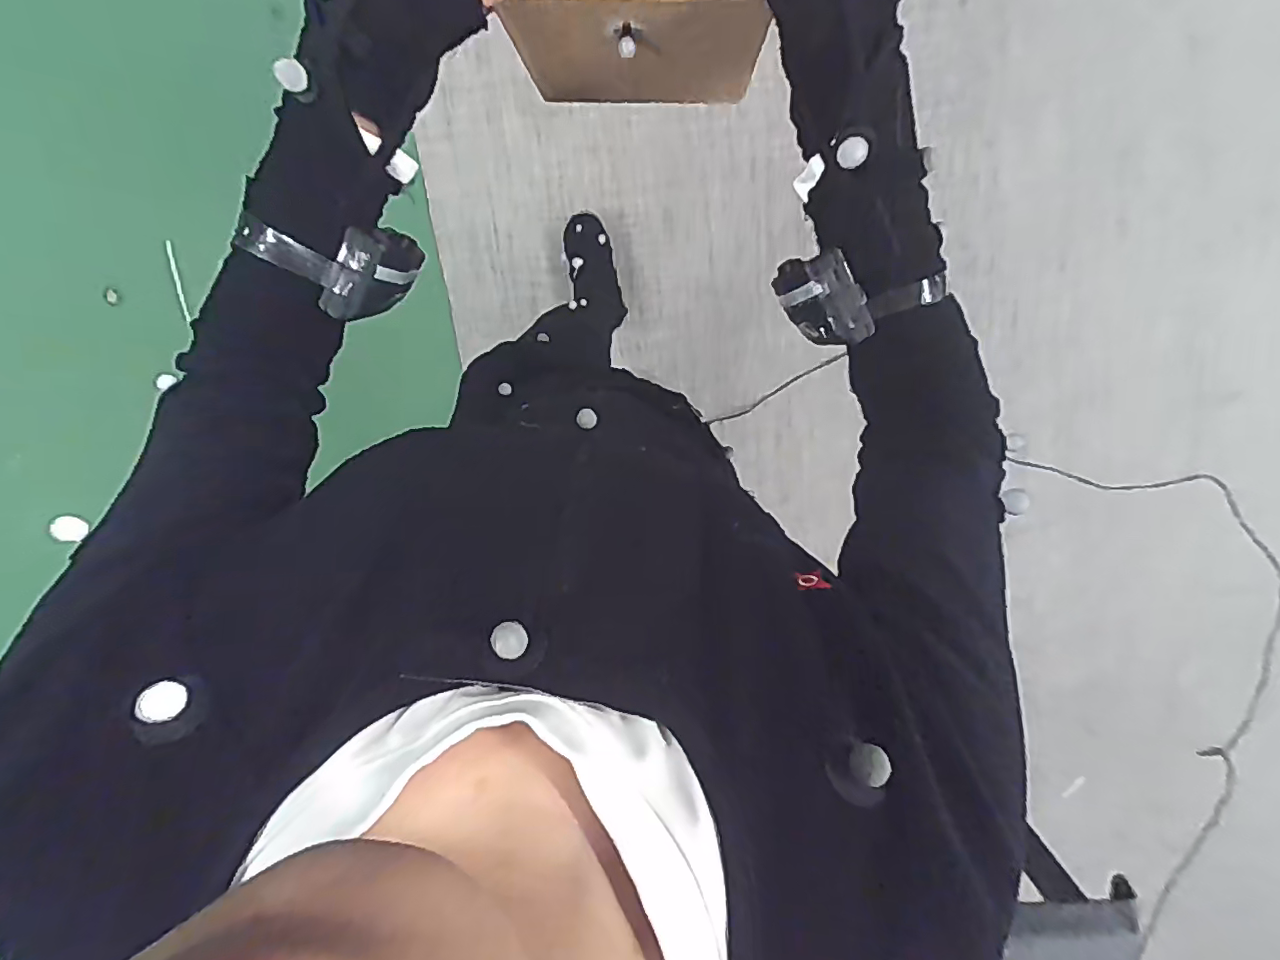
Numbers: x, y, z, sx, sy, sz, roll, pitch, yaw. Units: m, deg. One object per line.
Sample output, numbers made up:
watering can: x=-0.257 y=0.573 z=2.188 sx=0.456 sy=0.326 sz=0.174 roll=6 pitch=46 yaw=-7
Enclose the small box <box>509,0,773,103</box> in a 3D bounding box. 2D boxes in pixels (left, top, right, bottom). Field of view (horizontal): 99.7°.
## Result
small box: x=0.003 y=-0.387 z=0.378 sx=0.179 sy=0.176 sz=0.168 roll=1 pitch=106 yaw=1
